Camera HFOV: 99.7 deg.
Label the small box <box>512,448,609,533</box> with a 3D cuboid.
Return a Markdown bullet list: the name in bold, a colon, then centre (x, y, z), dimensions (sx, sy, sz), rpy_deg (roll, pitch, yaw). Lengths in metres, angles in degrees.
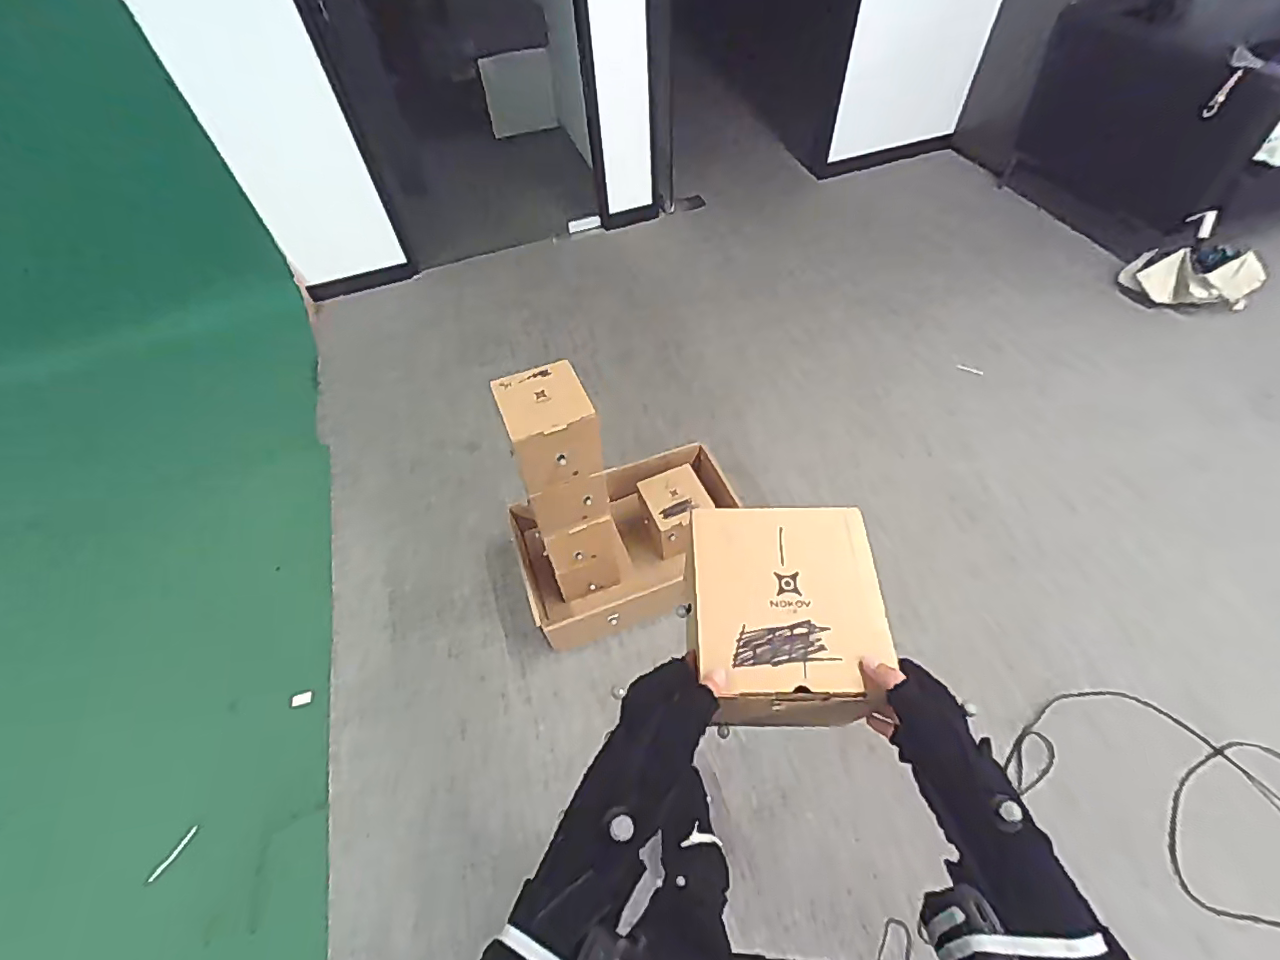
- **small box**: centre (-0.175, -0.001, 1.220), dimensions (0.168, 0.176, 0.179), rpy_deg (-19, 54, -12)

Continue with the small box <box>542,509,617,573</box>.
- **small box**: centre (-0.164, 0.102, 1.347), dimensions (0.168, 0.176, 0.179), rpy_deg (-18, 54, -11)

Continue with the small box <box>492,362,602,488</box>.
- **small box**: centre (-0.182, -0.103, 1.092), dimensions (0.168, 0.176, 0.179), rpy_deg (-19, 55, -13)

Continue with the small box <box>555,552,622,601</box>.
- **small box**: centre (-0.155, 0.201, 1.475), dimensions (0.168, 0.176, 0.179), rpy_deg (-18, 54, -9)

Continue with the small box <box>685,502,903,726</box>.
- **small box**: centre (0.135, 0.141, 0.543), dimensions (0.168, 0.176, 0.179), rpy_deg (3, 58, 1)
